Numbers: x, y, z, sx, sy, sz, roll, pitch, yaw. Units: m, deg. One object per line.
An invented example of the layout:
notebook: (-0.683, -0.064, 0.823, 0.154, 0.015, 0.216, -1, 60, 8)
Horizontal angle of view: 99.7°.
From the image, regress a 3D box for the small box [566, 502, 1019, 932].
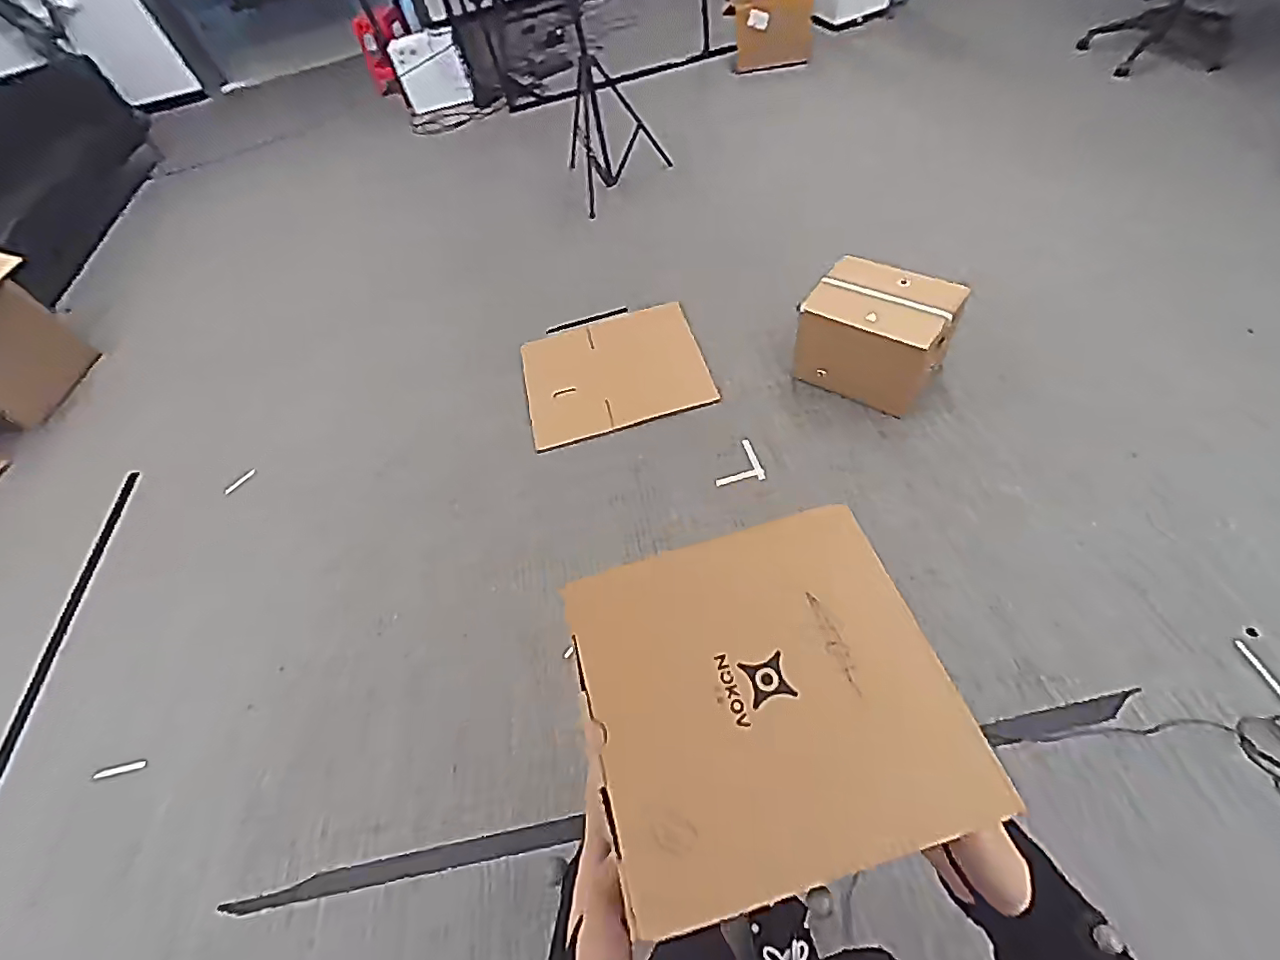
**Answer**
small box: (0.069, 0.144, 0.335, 0.179, 0.176, 0.168, -16, 57, -4)
